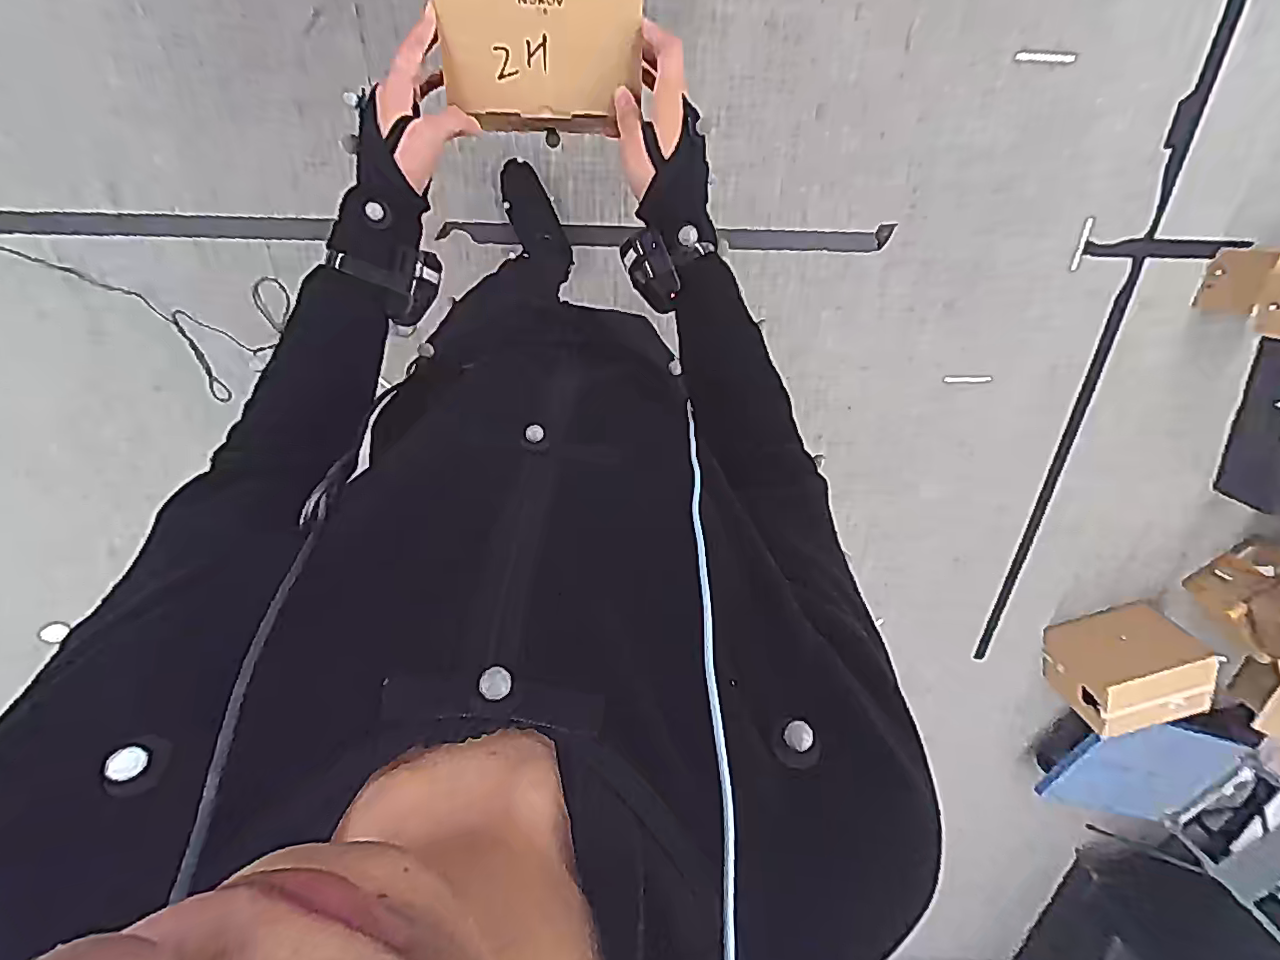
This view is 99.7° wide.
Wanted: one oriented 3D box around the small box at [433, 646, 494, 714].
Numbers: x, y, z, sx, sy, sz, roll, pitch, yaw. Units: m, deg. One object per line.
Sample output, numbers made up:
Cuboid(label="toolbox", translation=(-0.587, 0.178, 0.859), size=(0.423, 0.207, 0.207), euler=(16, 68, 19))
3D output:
Cuboid(label="small box", translation=(-0.638, 0.728, 1.983), size=(0.179, 0.176, 0.168), euler=(-3, 118, -4))

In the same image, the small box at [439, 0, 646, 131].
Cuboid(label="small box", translation=(-0.084, -0.432, 0.493), size=(0.168, 0.176, 0.179), euler=(-1, 119, -4))
